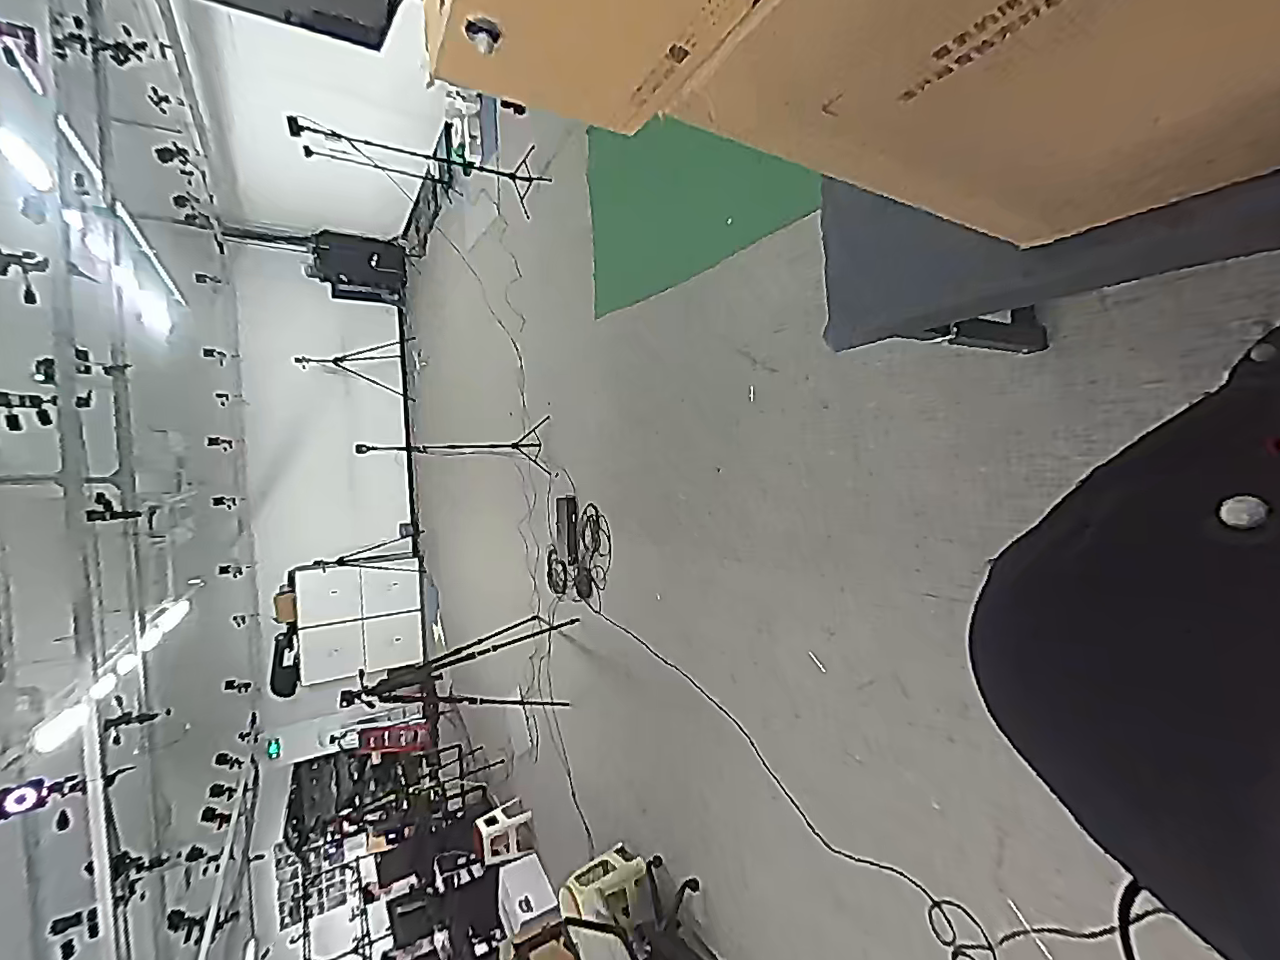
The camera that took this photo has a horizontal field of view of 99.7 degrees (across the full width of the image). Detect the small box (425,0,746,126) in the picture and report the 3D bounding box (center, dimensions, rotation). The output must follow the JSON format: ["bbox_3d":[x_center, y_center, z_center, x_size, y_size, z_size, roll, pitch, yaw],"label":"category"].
[{"bbox_3d":[-0.041,-0.380,0.356,0.168,0.176,0.179,5,97,61],"label":"small box"}]
